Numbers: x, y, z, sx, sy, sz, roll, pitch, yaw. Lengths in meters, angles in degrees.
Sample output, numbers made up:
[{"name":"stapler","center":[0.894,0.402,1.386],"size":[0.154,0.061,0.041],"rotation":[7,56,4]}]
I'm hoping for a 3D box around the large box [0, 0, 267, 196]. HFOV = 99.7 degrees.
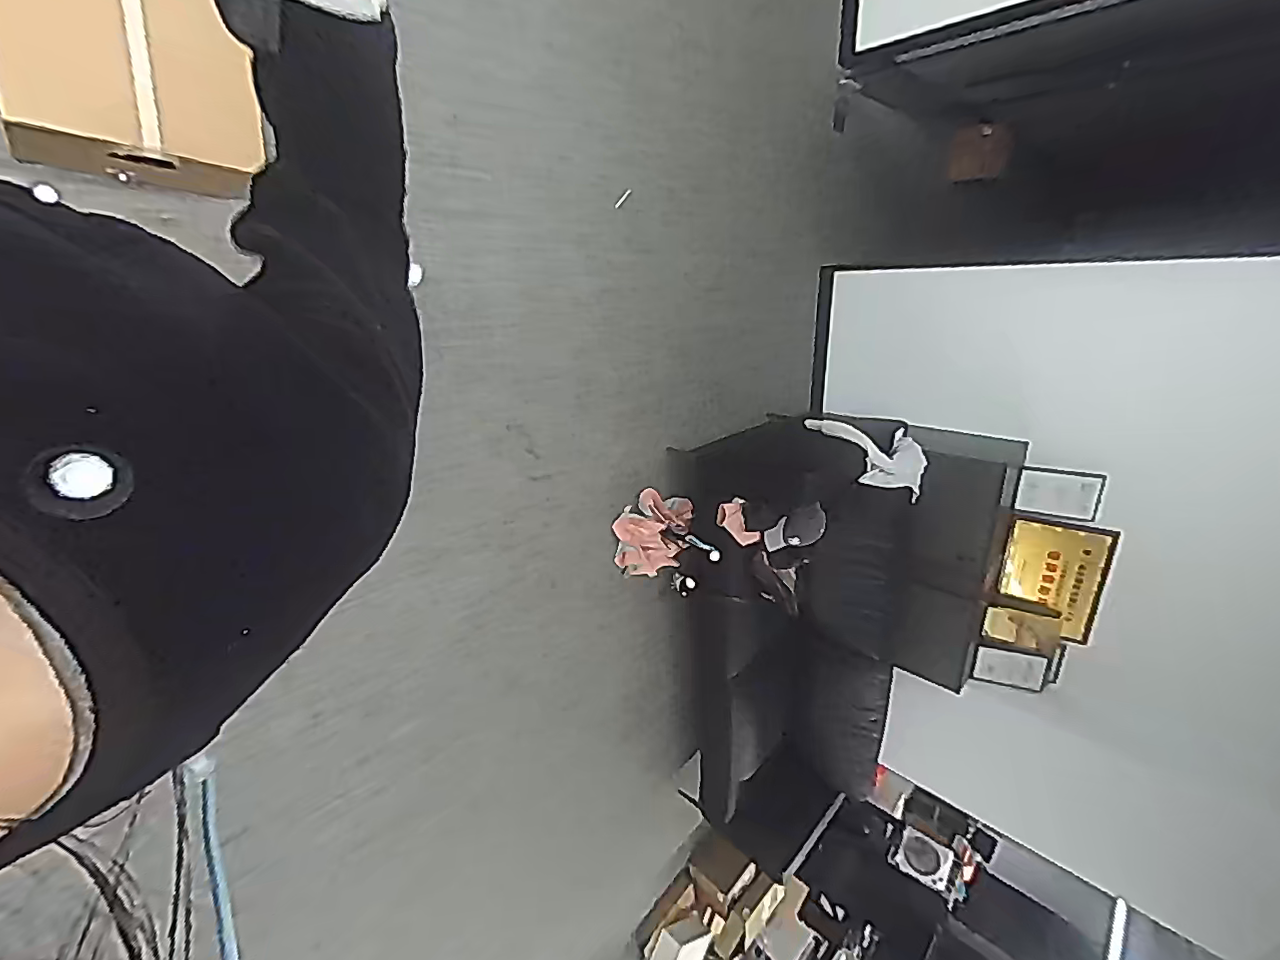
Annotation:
[{"name":"large box","center":[-0.867,-0.743,0.909],"size":[0.320,0.320,0.408],"rotation":[-11,110,-45]}]
